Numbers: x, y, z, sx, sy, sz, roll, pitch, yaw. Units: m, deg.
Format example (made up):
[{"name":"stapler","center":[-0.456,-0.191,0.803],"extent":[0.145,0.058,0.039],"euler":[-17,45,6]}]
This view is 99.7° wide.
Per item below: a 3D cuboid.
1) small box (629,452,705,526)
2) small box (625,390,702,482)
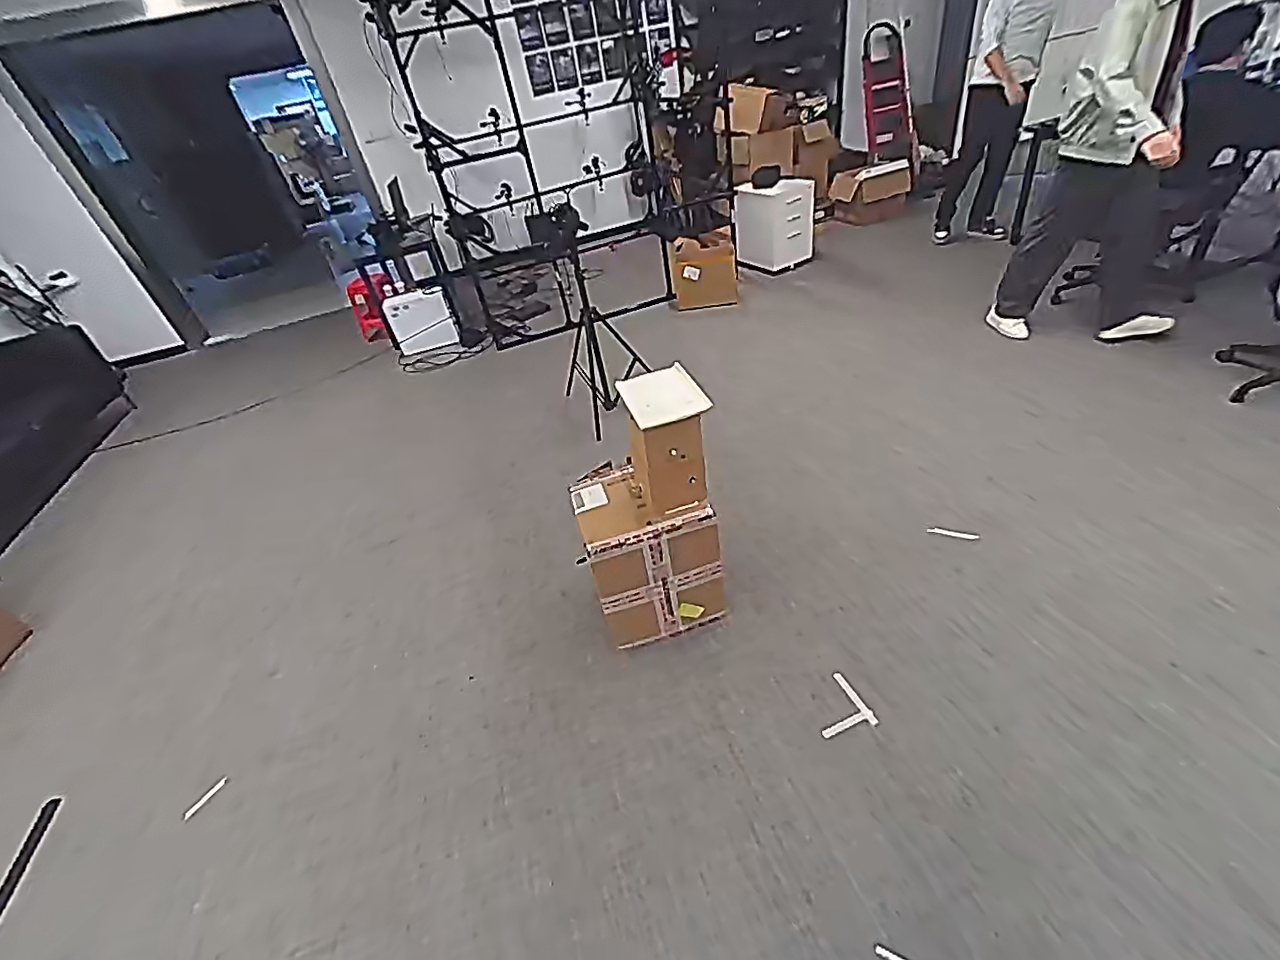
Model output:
[{"name":"small box","center":[0.082,0.007,1.593],"extent":[0.179,0.176,0.168],"euler":[-19,39,-11]},{"name":"small box","center":[0.065,-0.122,1.492],"extent":[0.168,0.176,0.179],"euler":[-16,40,-9]}]
